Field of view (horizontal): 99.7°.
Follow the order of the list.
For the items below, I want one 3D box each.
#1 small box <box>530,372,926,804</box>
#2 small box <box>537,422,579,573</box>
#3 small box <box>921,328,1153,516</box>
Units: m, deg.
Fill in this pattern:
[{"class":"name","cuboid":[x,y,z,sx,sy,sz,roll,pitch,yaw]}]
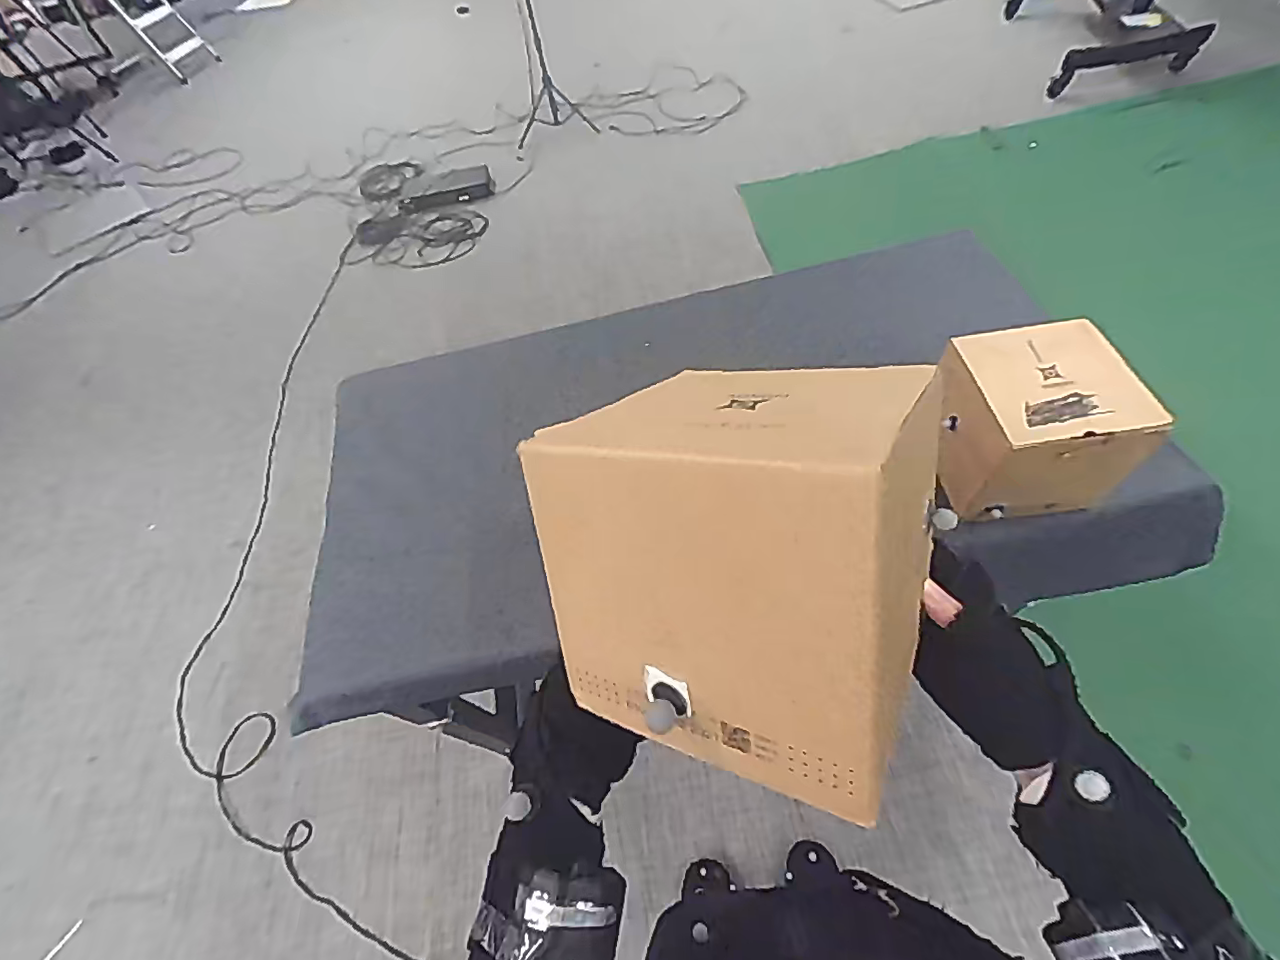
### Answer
[{"class":"small box","cuboid":[0.065,0.038,0.322,0.168,0.176,0.179,5,25,32]},{"class":"small box","cuboid":[-0.026,0.031,0.713,0.179,0.176,0.168,-12,54,1]},{"class":"small box","cuboid":[0.479,-0.064,0.699,0.168,0.176,0.179,-7,55,5]}]
